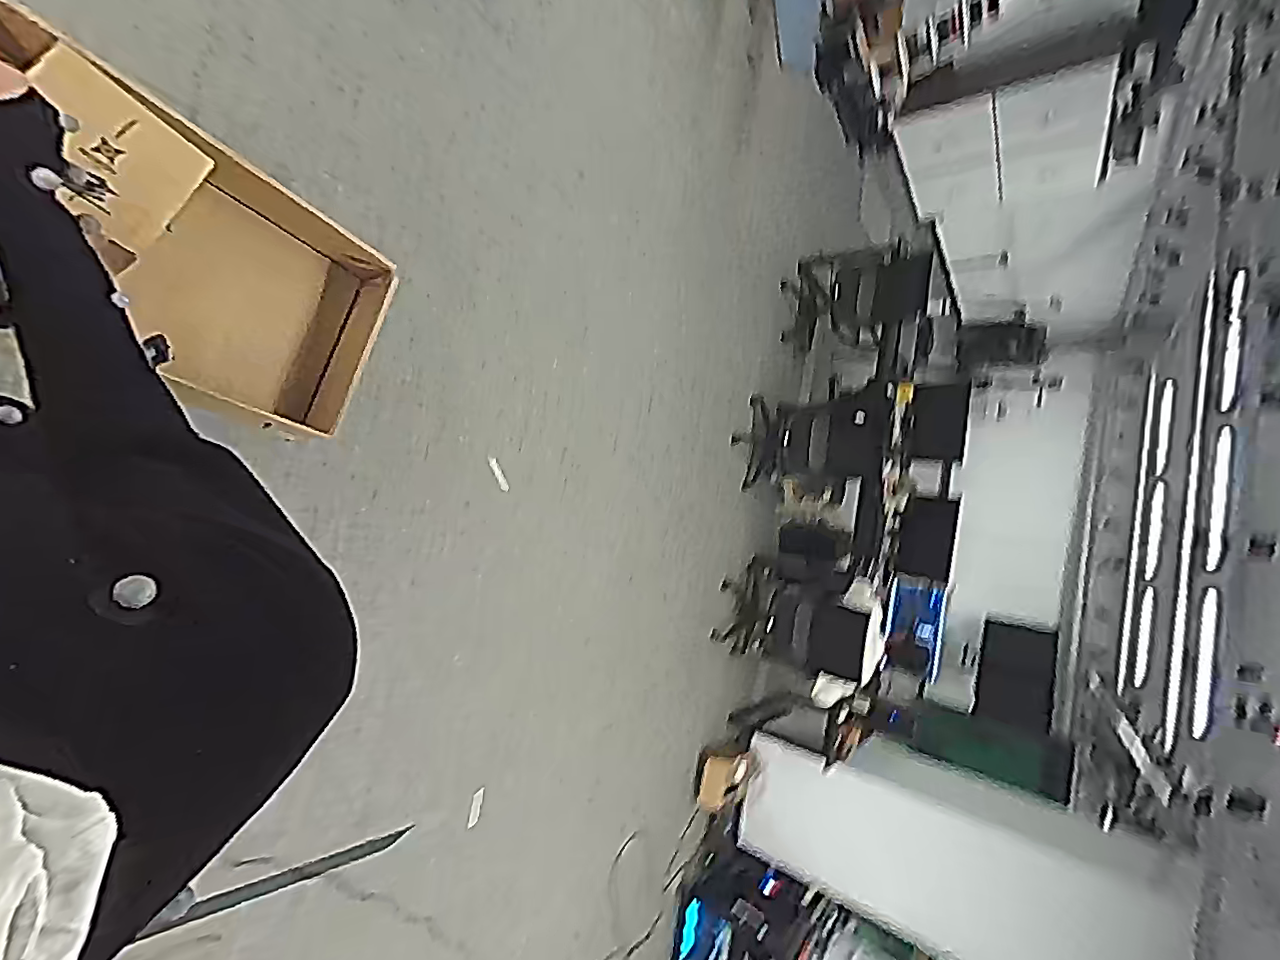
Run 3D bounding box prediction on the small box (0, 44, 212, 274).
[{"bbox_3d":[-0.714,-0.395,0.699,0.168,0.176,0.179,41,61,-47],"label":"small box"}]
